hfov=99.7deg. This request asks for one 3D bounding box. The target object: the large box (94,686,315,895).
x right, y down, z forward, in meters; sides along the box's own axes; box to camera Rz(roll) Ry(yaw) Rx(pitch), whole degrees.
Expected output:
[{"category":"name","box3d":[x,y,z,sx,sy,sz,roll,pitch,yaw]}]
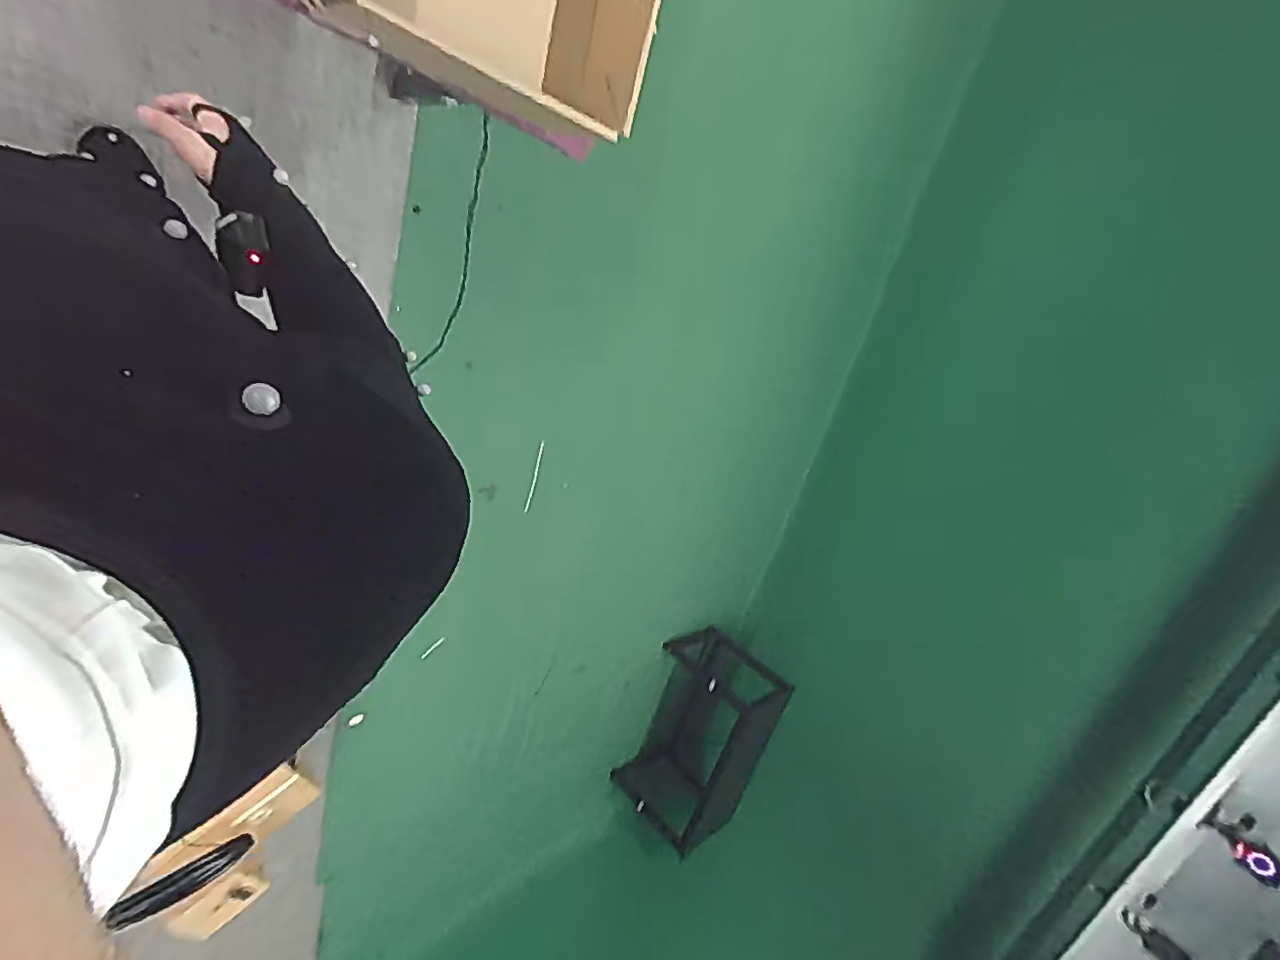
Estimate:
[{"category":"large box","box3d":[-1.314,0.934,1.653,0.408,0.320,0.320,-37,139,-28]}]
